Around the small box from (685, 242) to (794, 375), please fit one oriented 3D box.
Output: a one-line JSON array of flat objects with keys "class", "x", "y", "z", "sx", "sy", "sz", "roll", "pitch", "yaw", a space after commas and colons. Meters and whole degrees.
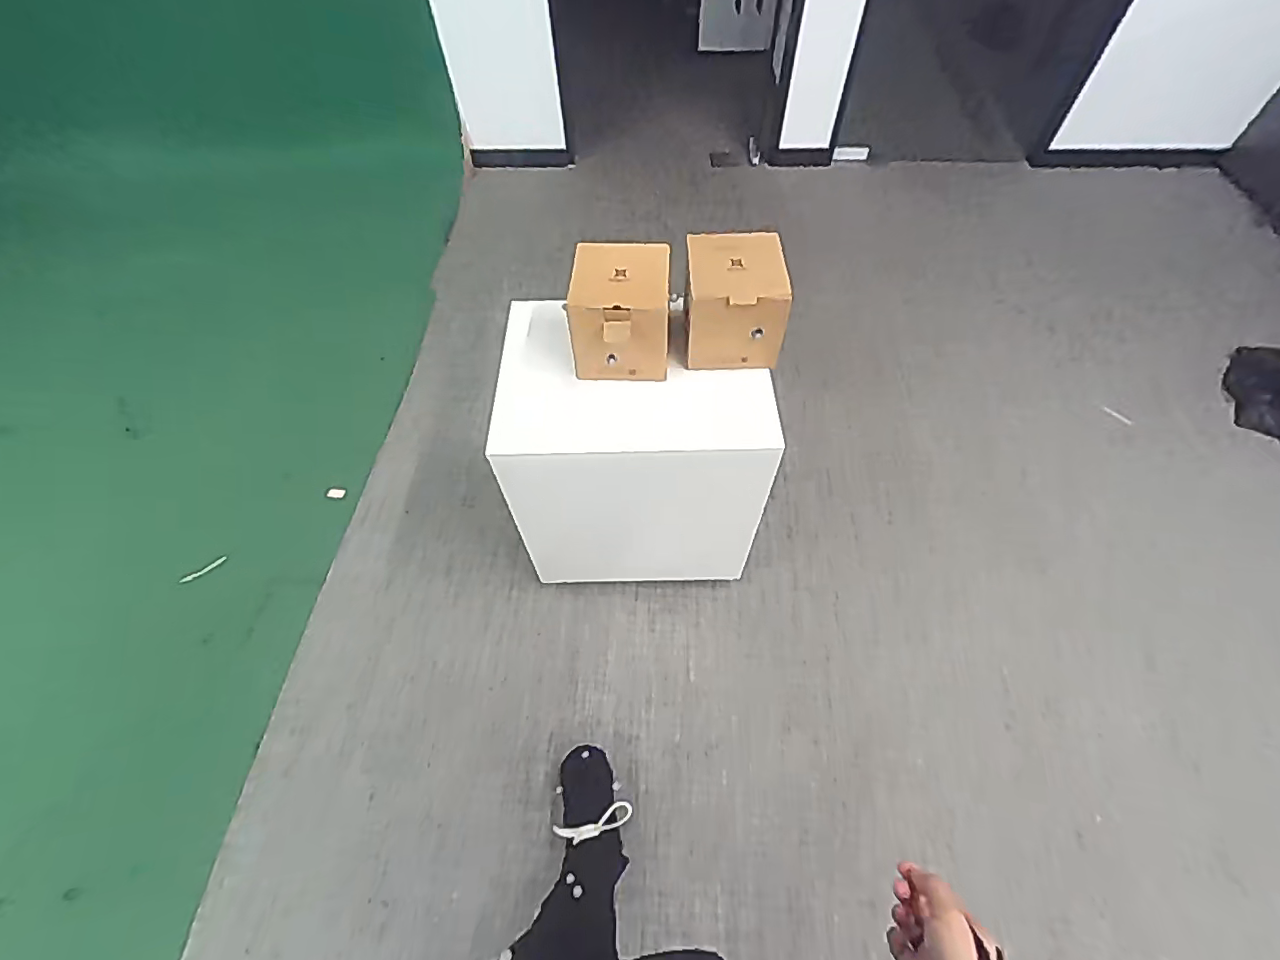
[{"class": "small box", "x": 0.172, "y": -0.306, "z": 0.985, "sx": 0.168, "sy": 0.176, "sz": 0.179, "roll": -1, "pitch": 56, "yaw": 0}]
